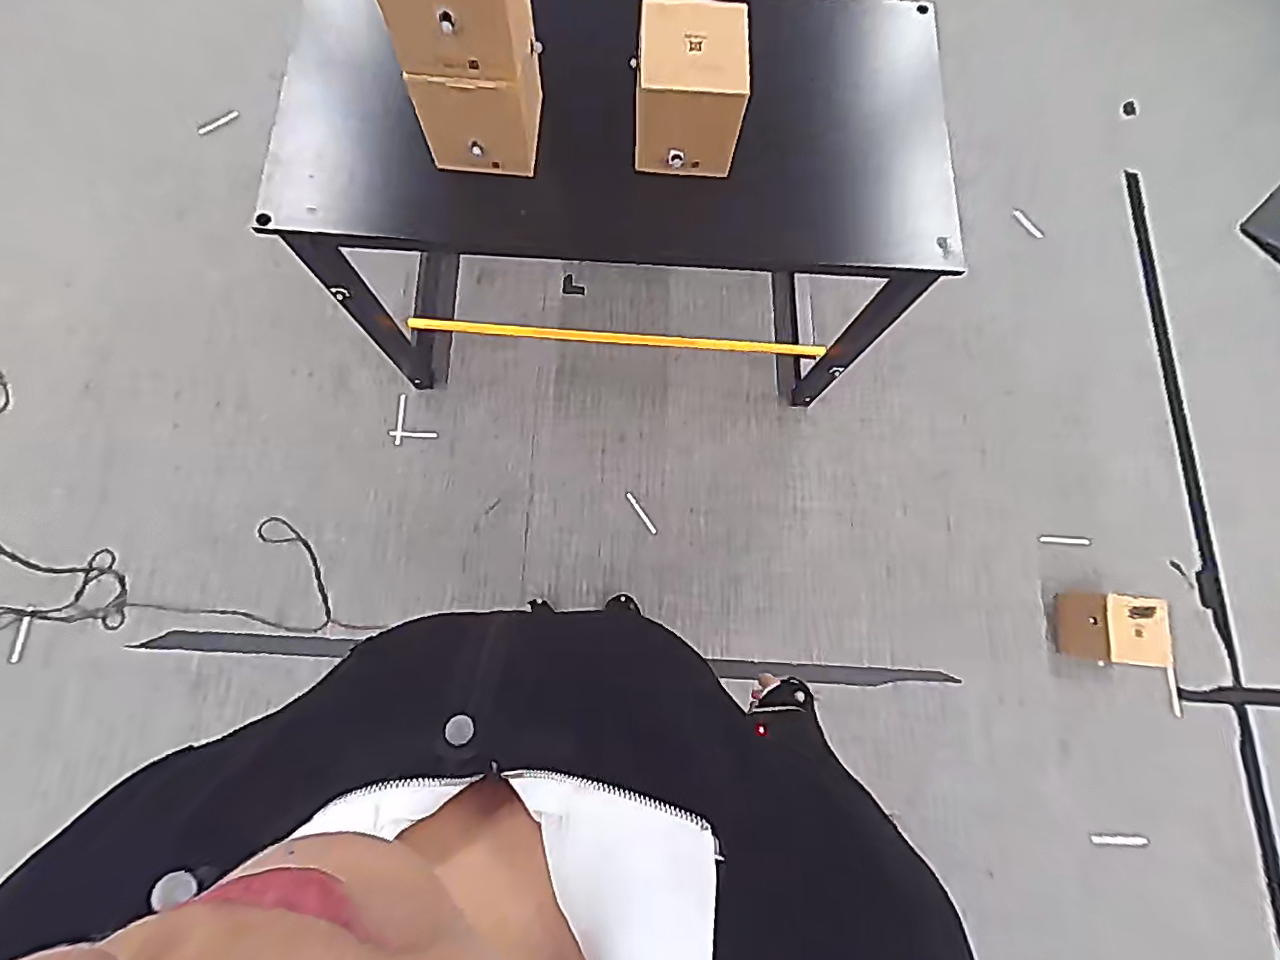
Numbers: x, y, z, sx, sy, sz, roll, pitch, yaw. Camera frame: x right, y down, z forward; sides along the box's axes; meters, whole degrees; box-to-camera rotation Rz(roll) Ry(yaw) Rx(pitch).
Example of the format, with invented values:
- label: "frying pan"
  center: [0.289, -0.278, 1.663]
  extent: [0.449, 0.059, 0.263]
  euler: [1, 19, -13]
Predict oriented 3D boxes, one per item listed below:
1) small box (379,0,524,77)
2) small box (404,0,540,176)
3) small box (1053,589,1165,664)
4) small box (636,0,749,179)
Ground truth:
- label: "small box"
  center: [-0.249, -0.678, 0.714]
  extent: [0.168, 0.176, 0.179]
  euler: [1, 78, -4]
- label: "small box"
  center: [-0.257, -0.633, 0.872]
  extent: [0.168, 0.176, 0.179]
  euler: [4, 77, -3]
- label: "small box"
  center: [1.283, 0.400, 1.492]
  extent: [0.168, 0.176, 0.179]
  euler: [7, 78, -2]
- label: "small box"
  center: [0.079, -0.641, 0.898]
  extent: [0.168, 0.176, 0.179]
  euler: [1, 78, -2]
